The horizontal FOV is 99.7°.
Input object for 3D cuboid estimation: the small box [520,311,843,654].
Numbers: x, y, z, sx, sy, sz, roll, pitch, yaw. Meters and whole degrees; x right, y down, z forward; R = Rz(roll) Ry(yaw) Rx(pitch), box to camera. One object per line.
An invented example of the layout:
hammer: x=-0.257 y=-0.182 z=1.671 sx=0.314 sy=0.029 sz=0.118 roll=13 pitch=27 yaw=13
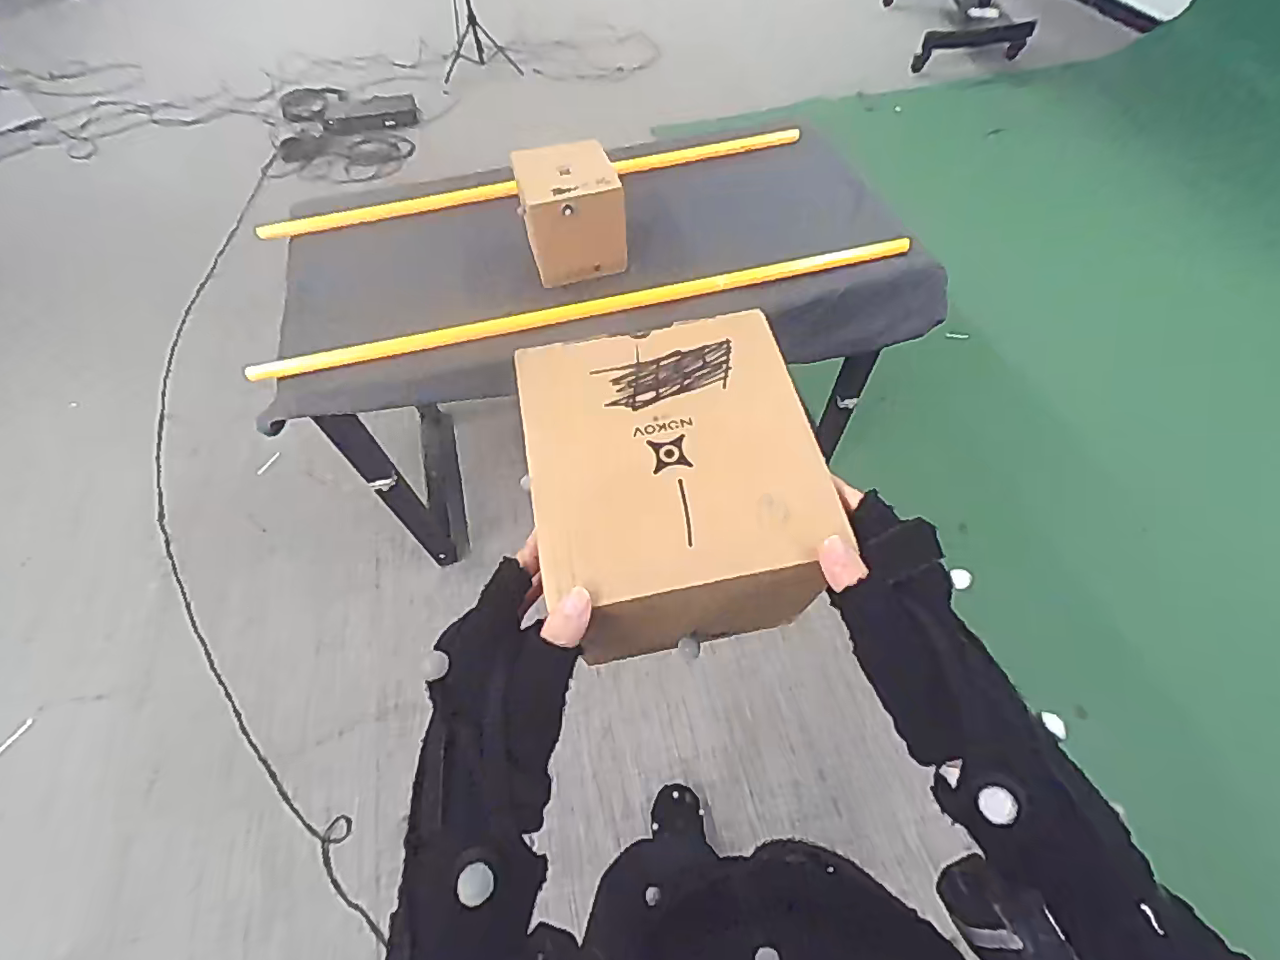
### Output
small box: x=0.017 y=0.011 z=0.392 sx=0.168 sy=0.176 sz=0.179 roll=-11 pitch=63 yaw=-3

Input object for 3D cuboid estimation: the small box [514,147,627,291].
small box: x=-0.127 y=-0.489 z=1.018 sx=0.168 sy=0.176 sz=0.179 roll=-16 pitch=57 yaw=-7
